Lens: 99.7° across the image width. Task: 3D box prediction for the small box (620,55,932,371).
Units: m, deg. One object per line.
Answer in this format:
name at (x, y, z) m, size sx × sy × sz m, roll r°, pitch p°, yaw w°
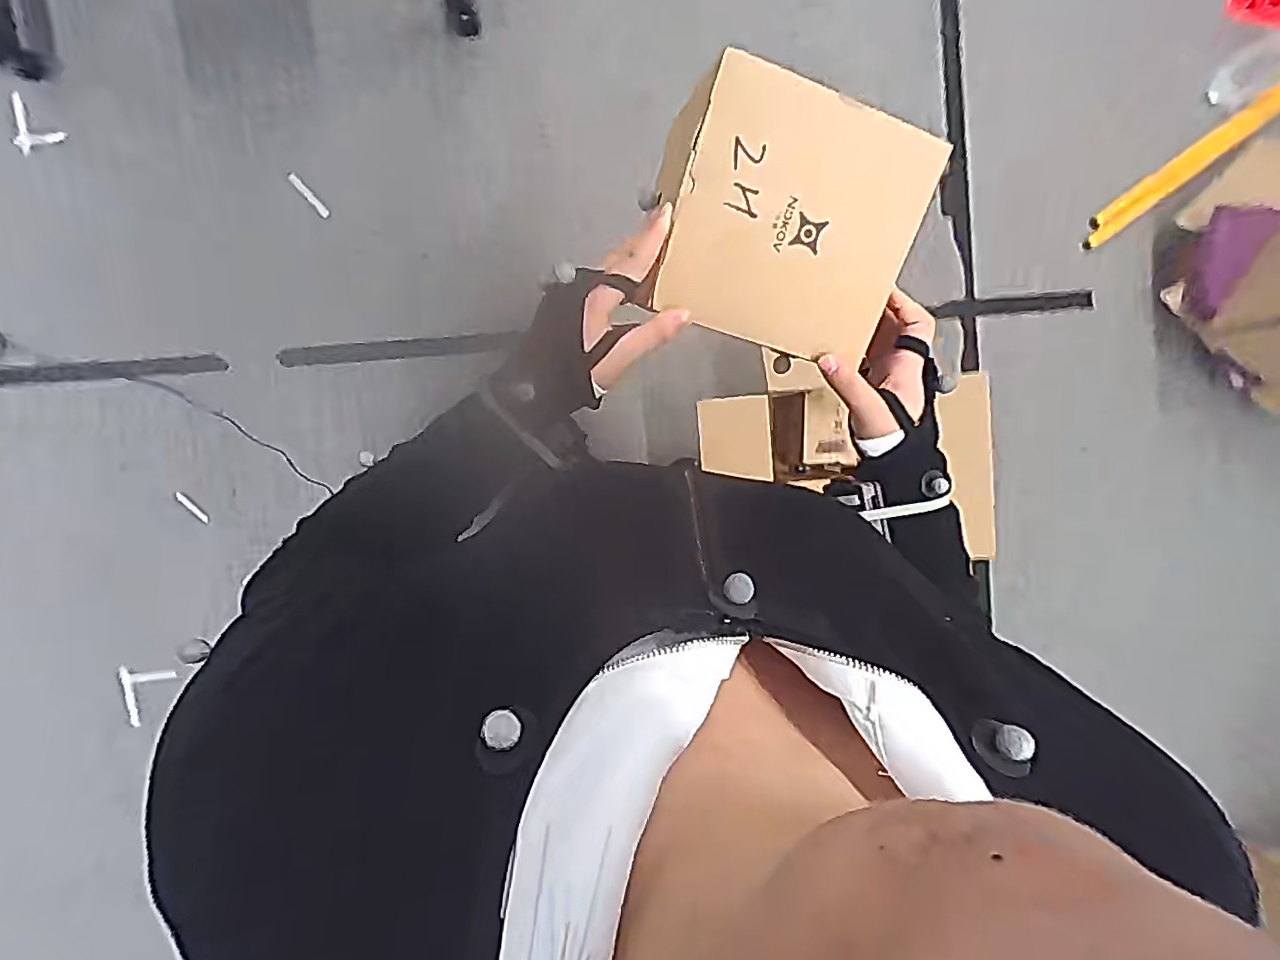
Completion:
small box at (0.091, -0.205, 0.456) m, size 0.179 × 0.176 × 0.168 m, roll 13°, pitch 107°, yaw -11°
